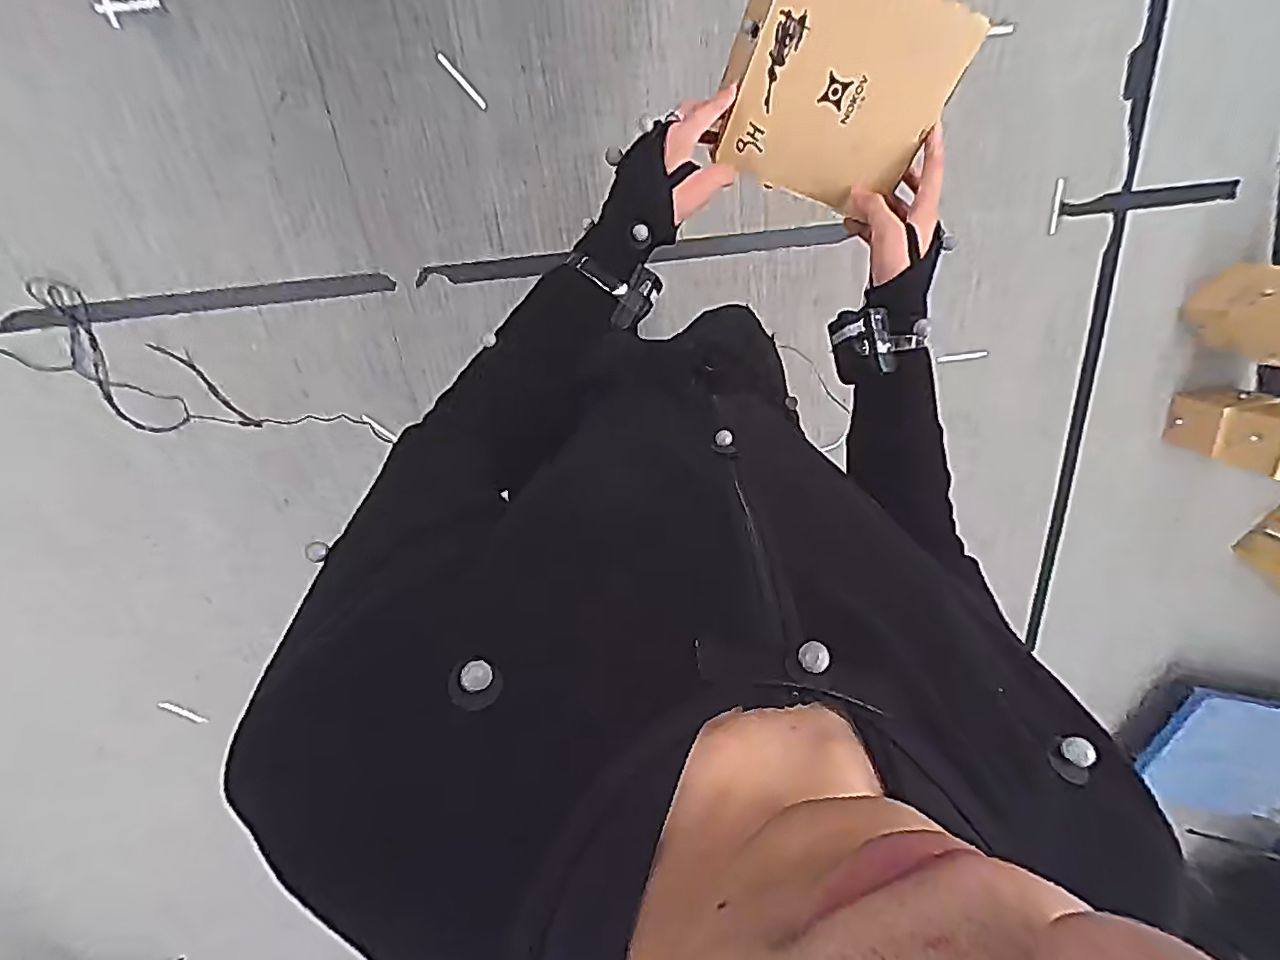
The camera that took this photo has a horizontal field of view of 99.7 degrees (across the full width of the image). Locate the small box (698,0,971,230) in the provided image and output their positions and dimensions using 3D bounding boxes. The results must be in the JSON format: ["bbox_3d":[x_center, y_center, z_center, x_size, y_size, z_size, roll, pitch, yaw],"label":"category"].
[{"bbox_3d":[0.171,-0.383,0.540,0.179,0.176,0.168,15,129,-11],"label":"small box"}]
